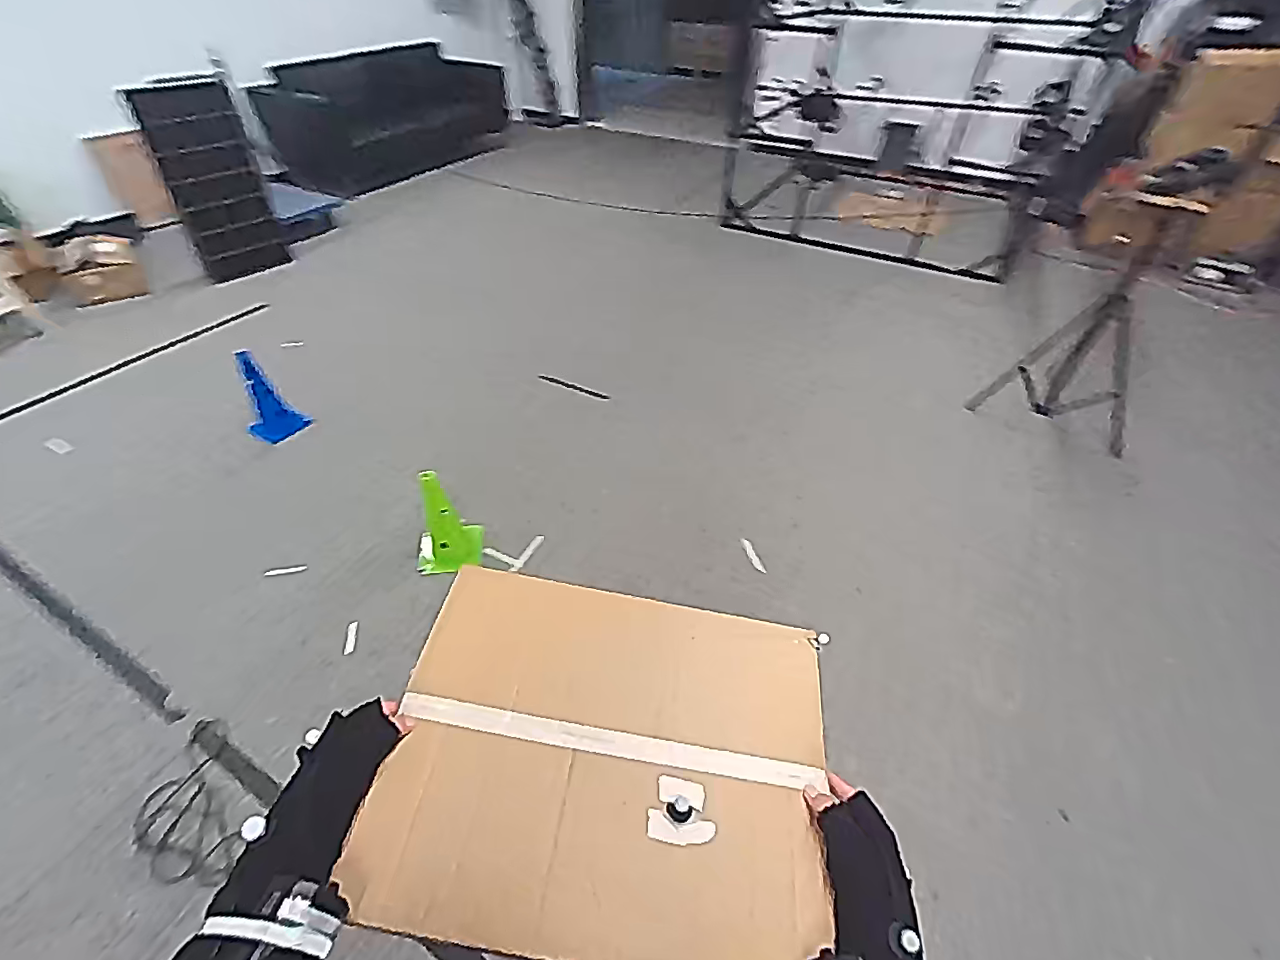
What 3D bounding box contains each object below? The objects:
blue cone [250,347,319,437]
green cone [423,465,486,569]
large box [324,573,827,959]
[{"bbox_3d":[-1.539,-0.380,2.262,0.193,0.380,0.192,25,47,22],"label":"blue cone"},{"bbox_3d":[-0.639,0.101,1.773,0.200,0.368,0.202,-4,43,-7],"label":"green cone"},{"bbox_3d":[-0.052,0.347,0.623,0.408,0.320,0.320,11,48,0],"label":"large box"}]
